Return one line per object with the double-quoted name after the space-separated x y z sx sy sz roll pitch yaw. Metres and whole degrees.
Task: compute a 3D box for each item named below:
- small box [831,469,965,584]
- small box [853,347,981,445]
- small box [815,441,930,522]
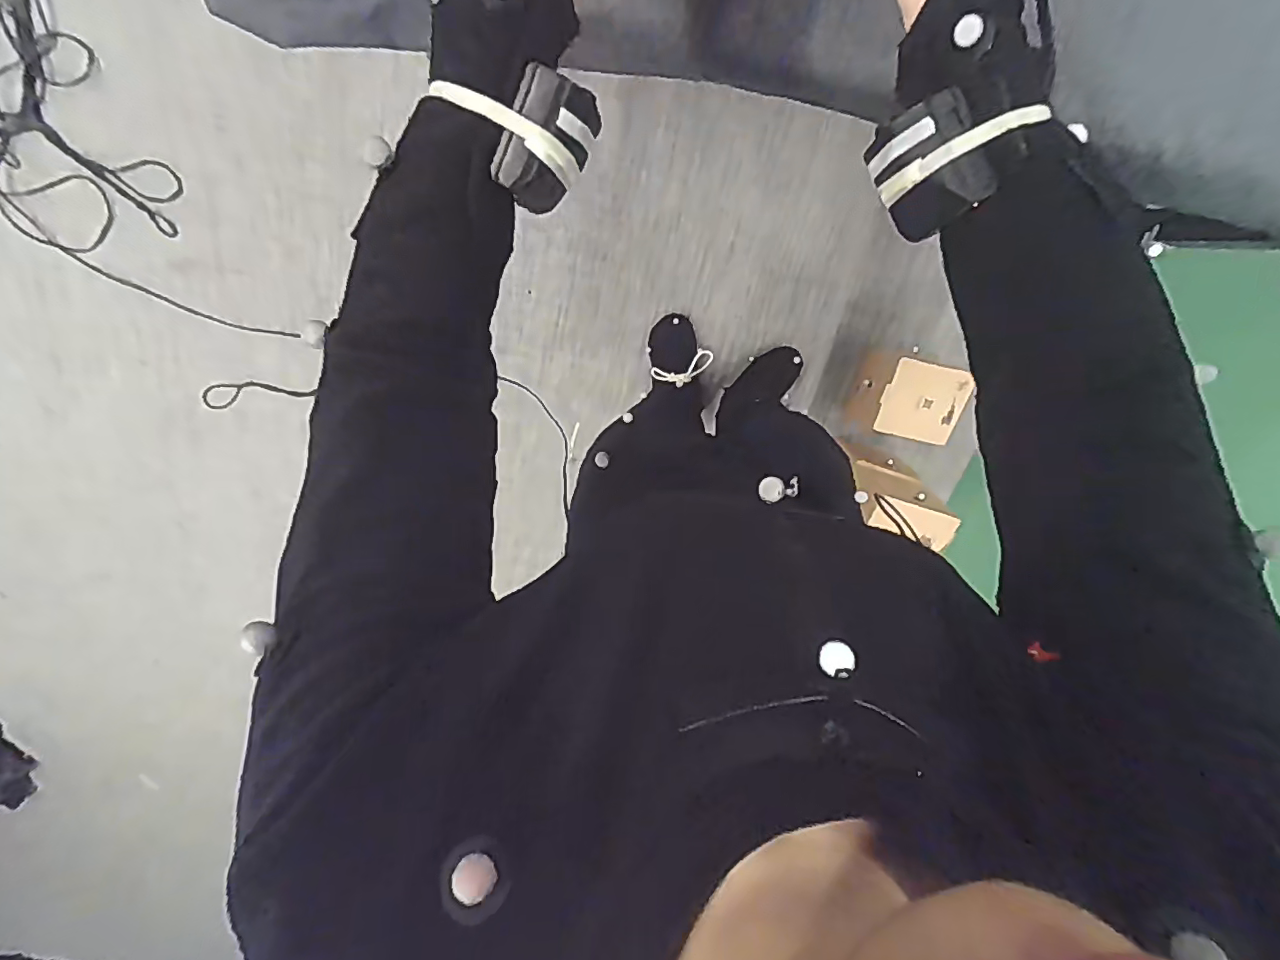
0.545 0.094 1.170 0.179 0.176 0.168 17 112 -4 "small box"
0.609 -0.196 1.219 0.179 0.176 0.168 12 113 -3 "small box"
0.555 0.022 1.318 0.179 0.176 0.168 17 112 -4 "small box"
